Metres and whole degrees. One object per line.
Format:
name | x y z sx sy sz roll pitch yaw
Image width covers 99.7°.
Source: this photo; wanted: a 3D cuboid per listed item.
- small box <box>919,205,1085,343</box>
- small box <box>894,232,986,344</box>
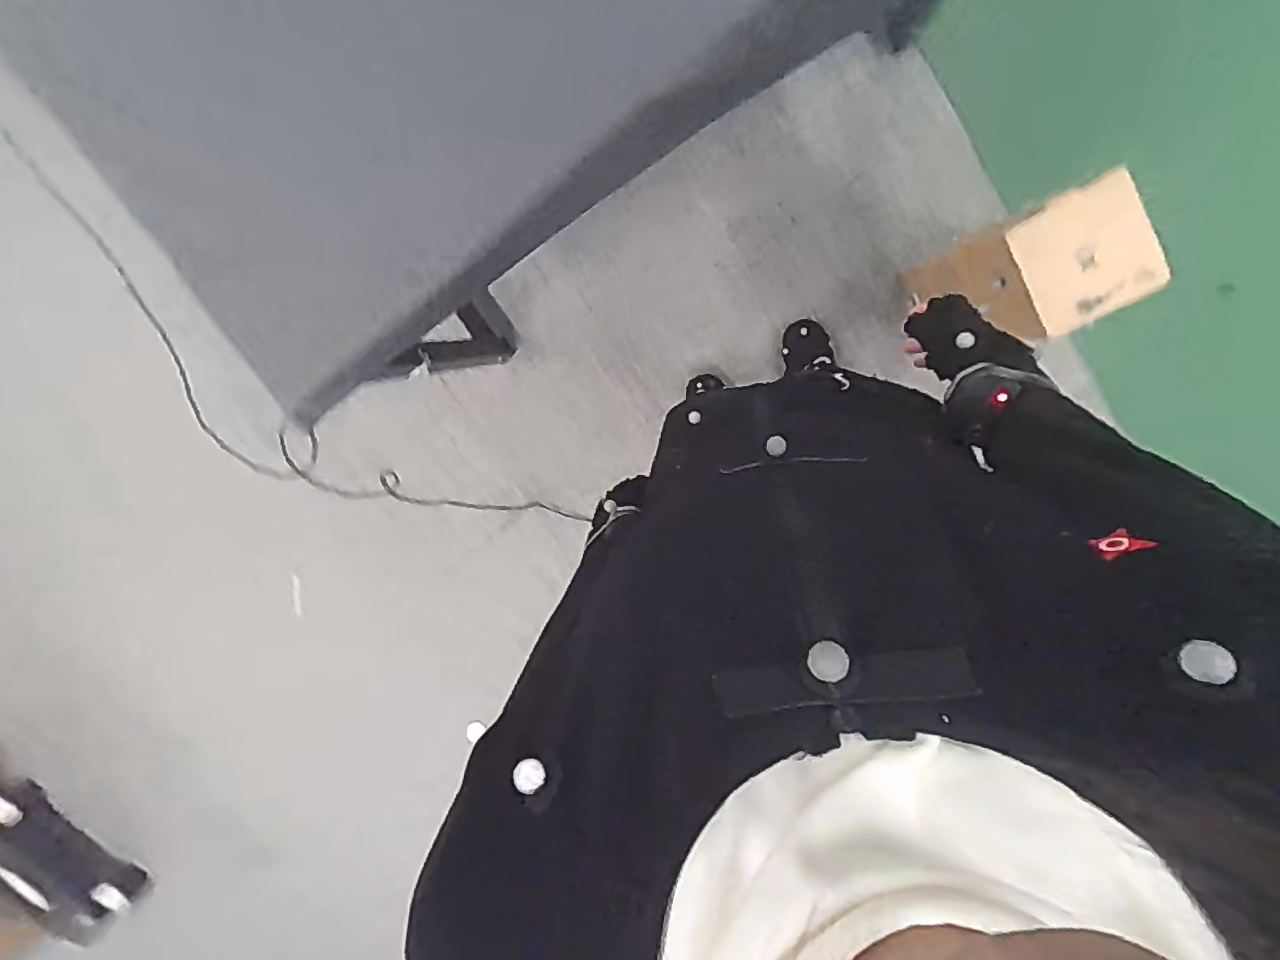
small box | 0.660 -0.372 1.006 0.179 0.176 0.168 -28 97 16
small box | 0.683 -0.411 1.165 0.179 0.176 0.168 -28 97 17
